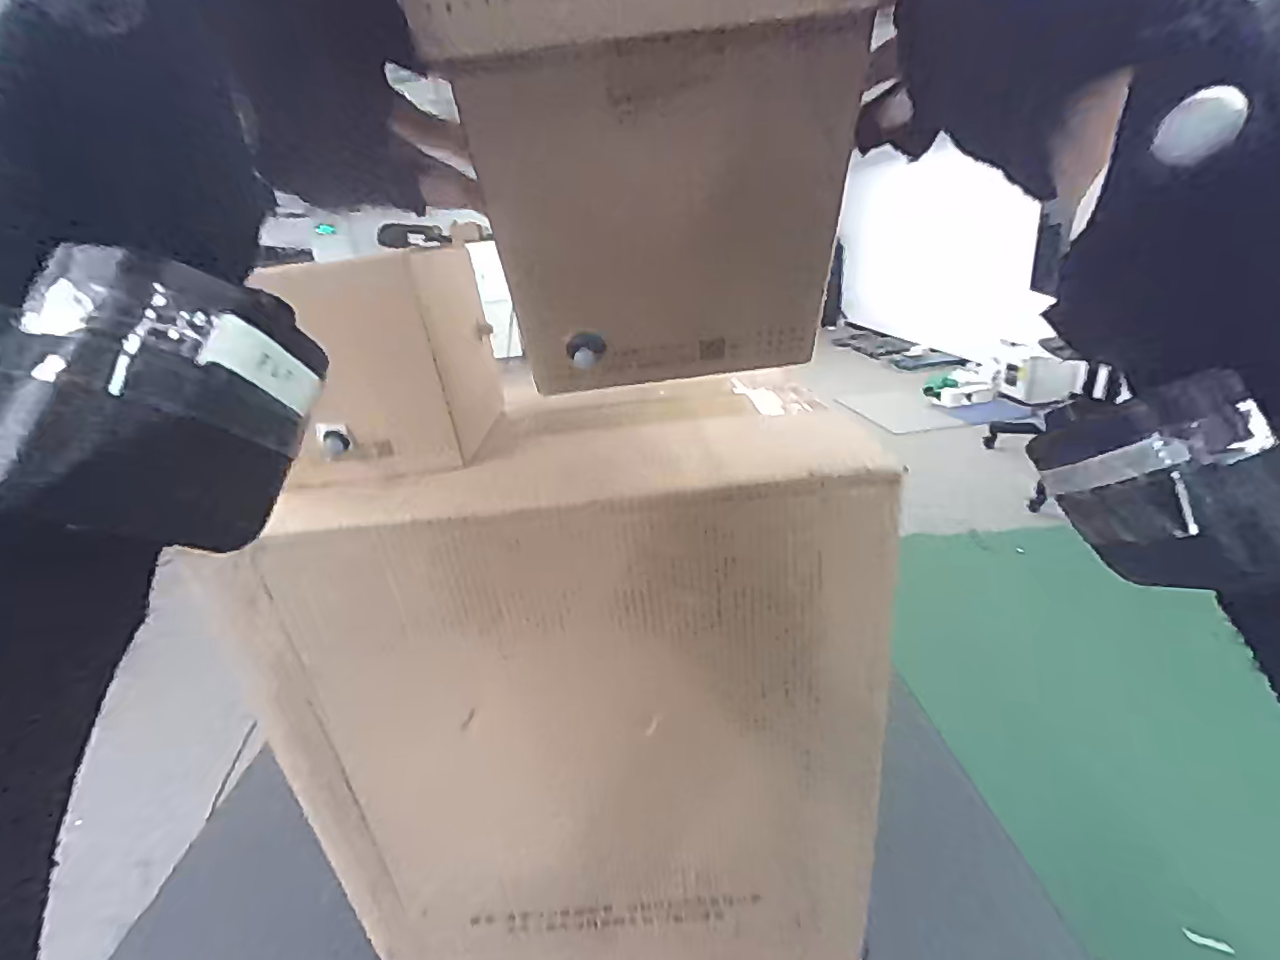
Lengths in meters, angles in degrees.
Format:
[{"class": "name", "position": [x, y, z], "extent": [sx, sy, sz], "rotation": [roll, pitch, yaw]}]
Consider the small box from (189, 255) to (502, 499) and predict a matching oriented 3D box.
[{"class": "small box", "position": [-0.234, -0.100, 0.490], "extent": [0.168, 0.176, 0.179], "rotation": [-8, 26, 1]}]

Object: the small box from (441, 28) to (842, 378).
[{"class": "small box", "position": [0.002, -0.175, 0.325], "extent": [0.168, 0.176, 0.179], "rotation": [-8, 48, 0]}]
